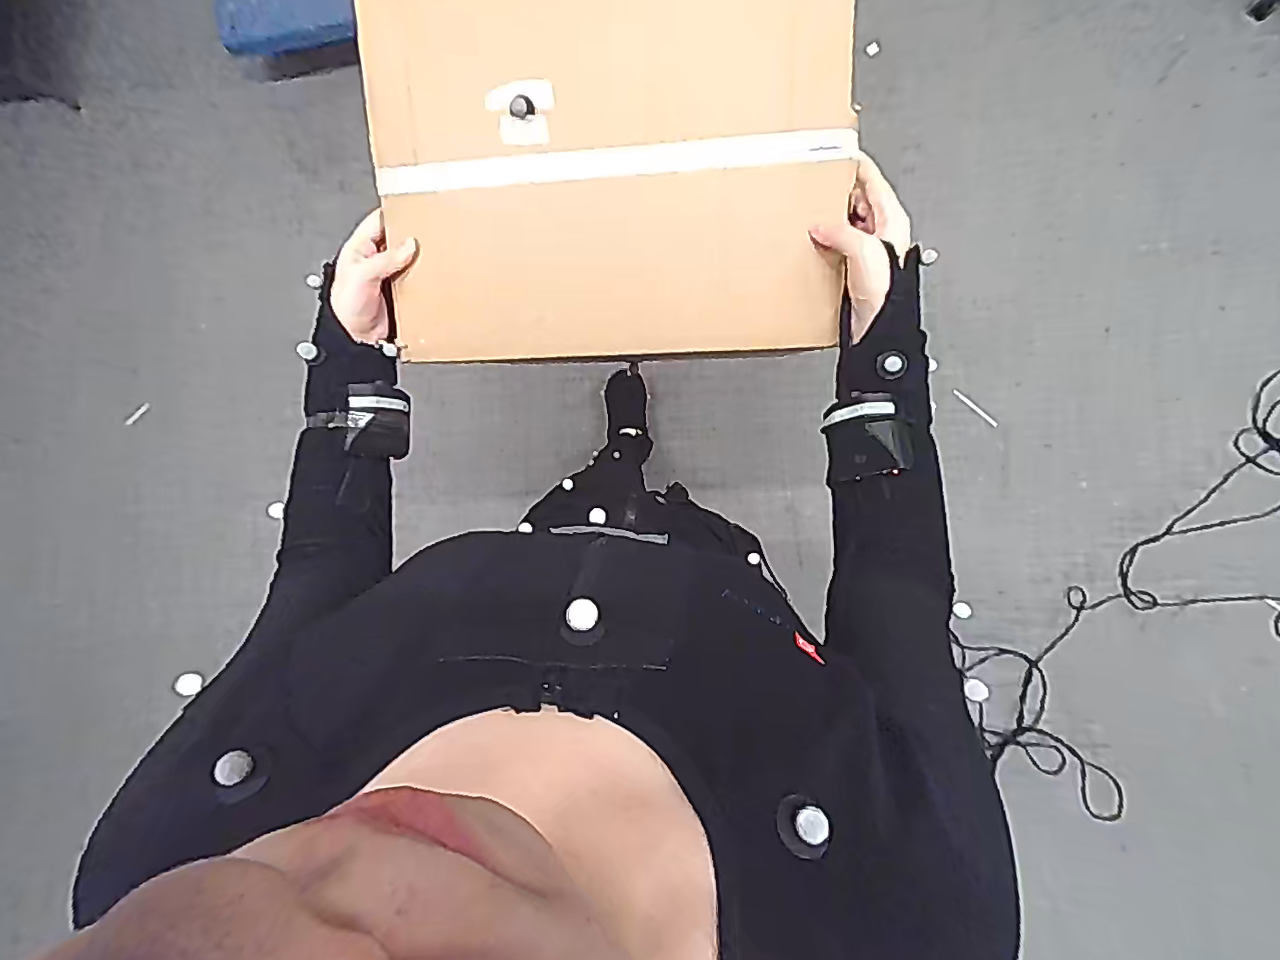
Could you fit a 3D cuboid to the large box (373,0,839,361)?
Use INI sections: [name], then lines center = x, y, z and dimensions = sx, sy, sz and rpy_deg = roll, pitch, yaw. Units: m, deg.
[large box]
center = -0.011, -0.306, 0.620
dimensions = 0.408, 0.320, 0.320
rpy_deg = -1, 101, 8
